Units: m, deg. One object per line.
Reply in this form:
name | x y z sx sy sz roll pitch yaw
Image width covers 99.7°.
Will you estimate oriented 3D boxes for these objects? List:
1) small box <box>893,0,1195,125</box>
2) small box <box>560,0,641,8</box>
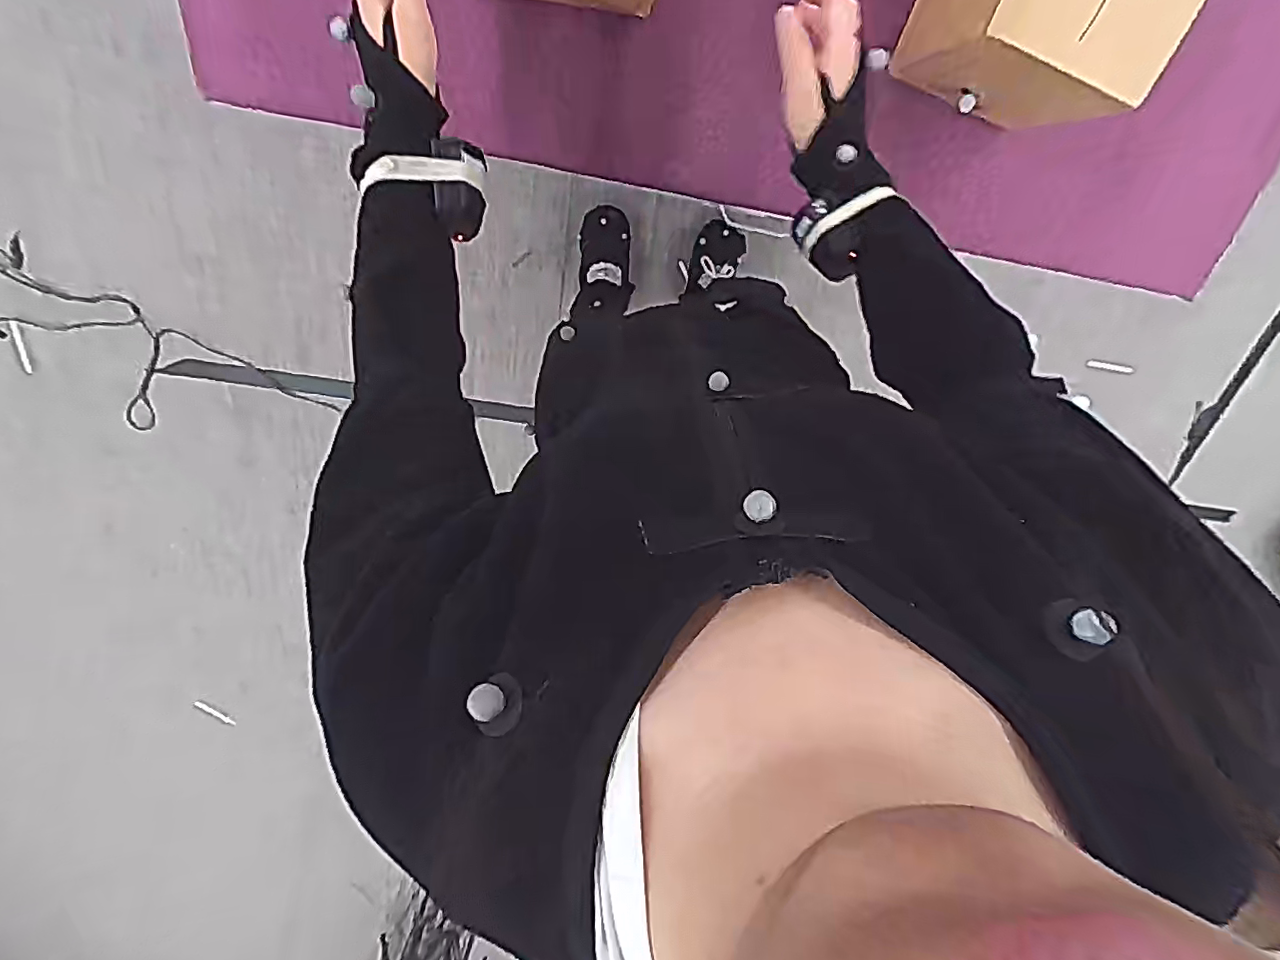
small box | 0.369 -0.454 0.490 0.168 0.176 0.179 14 116 -13
small box | -0.061 -0.503 0.421 0.179 0.176 0.168 3 118 -7
